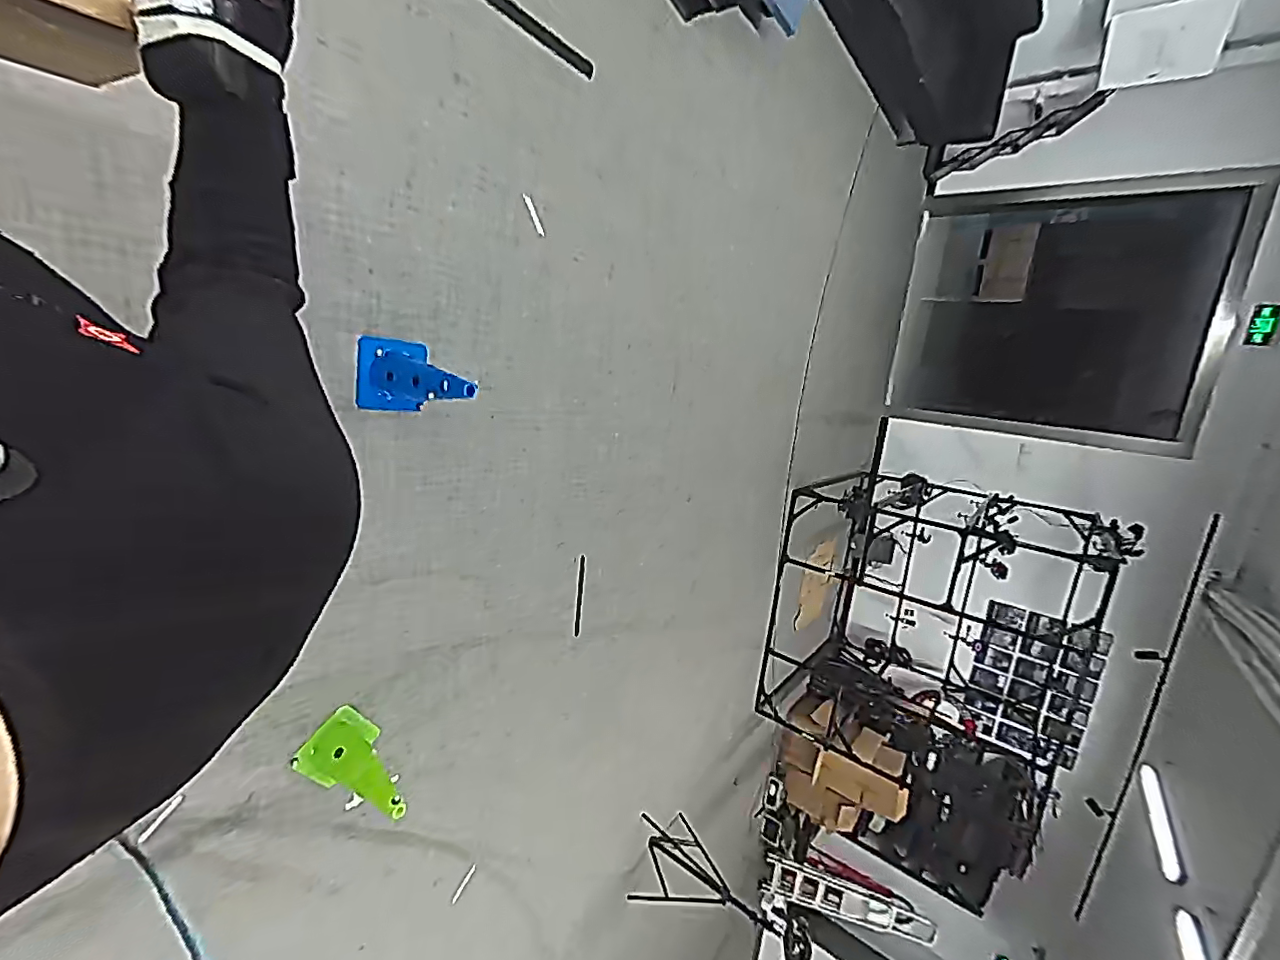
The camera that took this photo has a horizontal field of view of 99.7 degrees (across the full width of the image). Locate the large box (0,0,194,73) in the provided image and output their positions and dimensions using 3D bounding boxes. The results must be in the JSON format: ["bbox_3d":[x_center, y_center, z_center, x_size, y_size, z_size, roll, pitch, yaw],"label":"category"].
[{"bbox_3d":[-0.529,-0.473,0.264,0.408,0.320,0.320,-13,120,-52],"label":"large box"}]

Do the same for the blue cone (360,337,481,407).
[{"bbox_3d":[-0.567,-0.269,1.445,0.192,0.380,0.193,-4,106,-55],"label":"blue cone"}]

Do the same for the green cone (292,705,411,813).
[{"bbox_3d":[-0.775,0.839,1.539,0.202,0.368,0.200,-52,140,-32],"label":"green cone"}]
